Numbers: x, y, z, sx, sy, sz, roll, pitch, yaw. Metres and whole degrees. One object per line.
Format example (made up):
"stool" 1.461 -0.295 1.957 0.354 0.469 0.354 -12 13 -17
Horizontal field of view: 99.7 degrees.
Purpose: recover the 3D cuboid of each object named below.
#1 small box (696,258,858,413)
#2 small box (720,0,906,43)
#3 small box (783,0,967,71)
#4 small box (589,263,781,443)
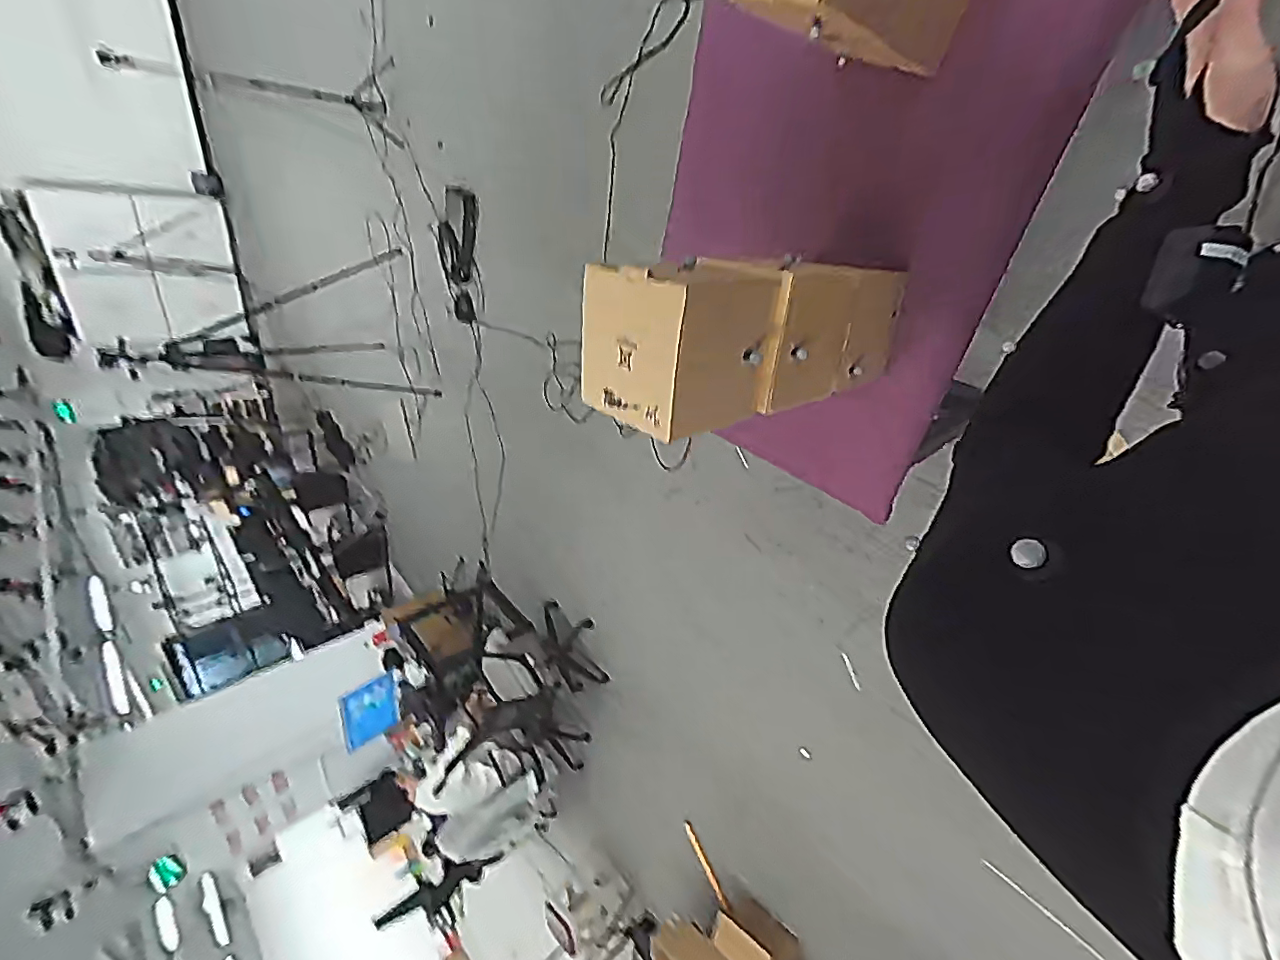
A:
"small box" 0.186 -0.215 0.771 0.168 0.176 0.179 29 126 39
"small box" 0.207 -0.606 0.584 0.168 0.176 0.179 40 132 29
"small box" 0.321 -0.653 0.690 0.168 0.176 0.179 41 132 30
"small box" 0.056 -0.170 0.682 0.168 0.176 0.179 30 126 39
